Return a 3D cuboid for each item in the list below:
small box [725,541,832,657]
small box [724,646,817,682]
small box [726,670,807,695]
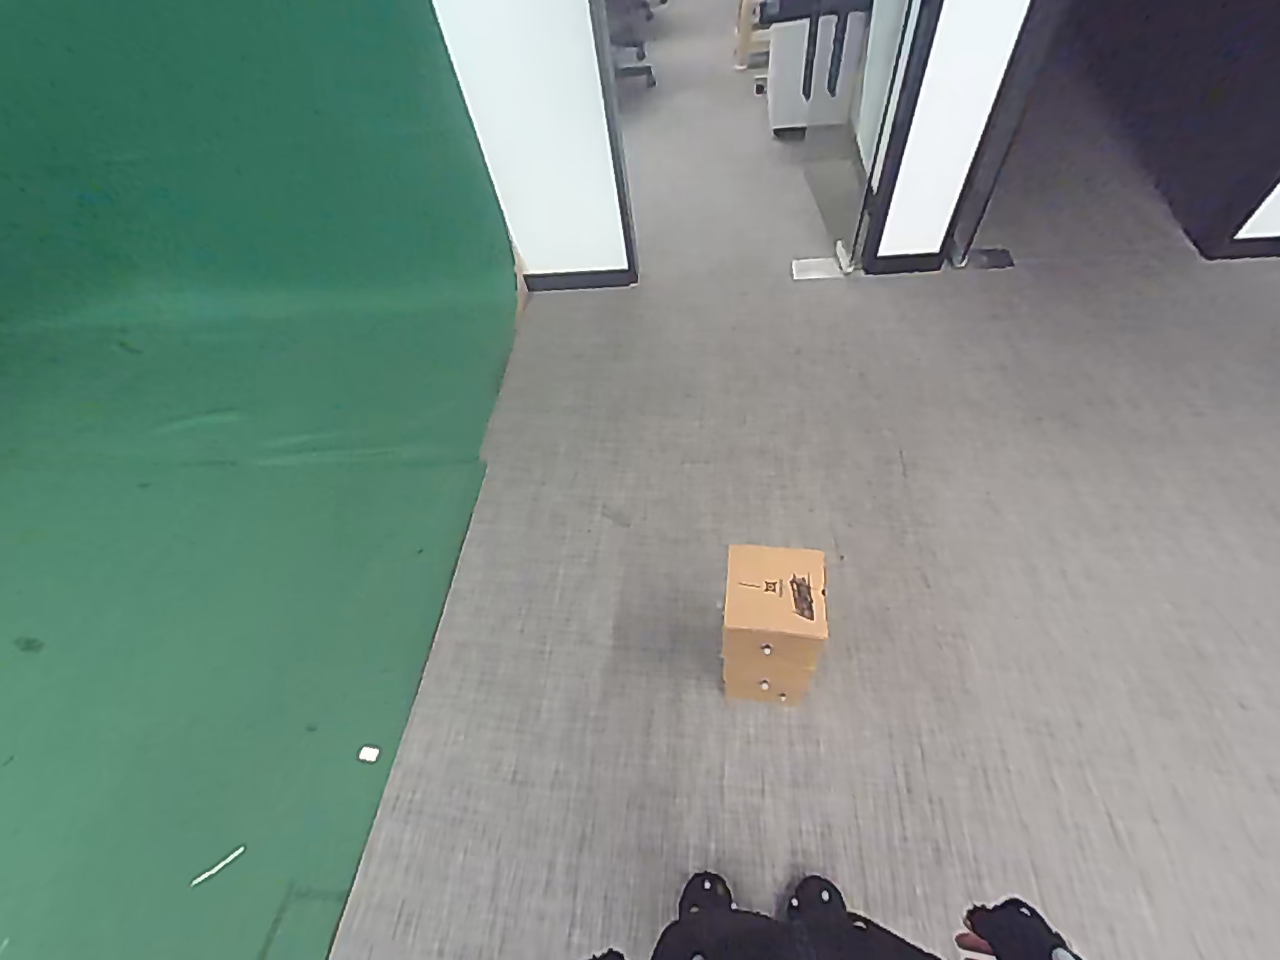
[{"bbox_3d":[0.255,0.231,1.031,0.179,0.176,0.168,2,56,8],"label":"small box"},{"bbox_3d":[0.278,0.325,1.165,0.179,0.176,0.168,6,57,11],"label":"small box"},{"bbox_3d":[0.300,0.411,1.302,0.179,0.176,0.168,1,56,11],"label":"small box"}]
